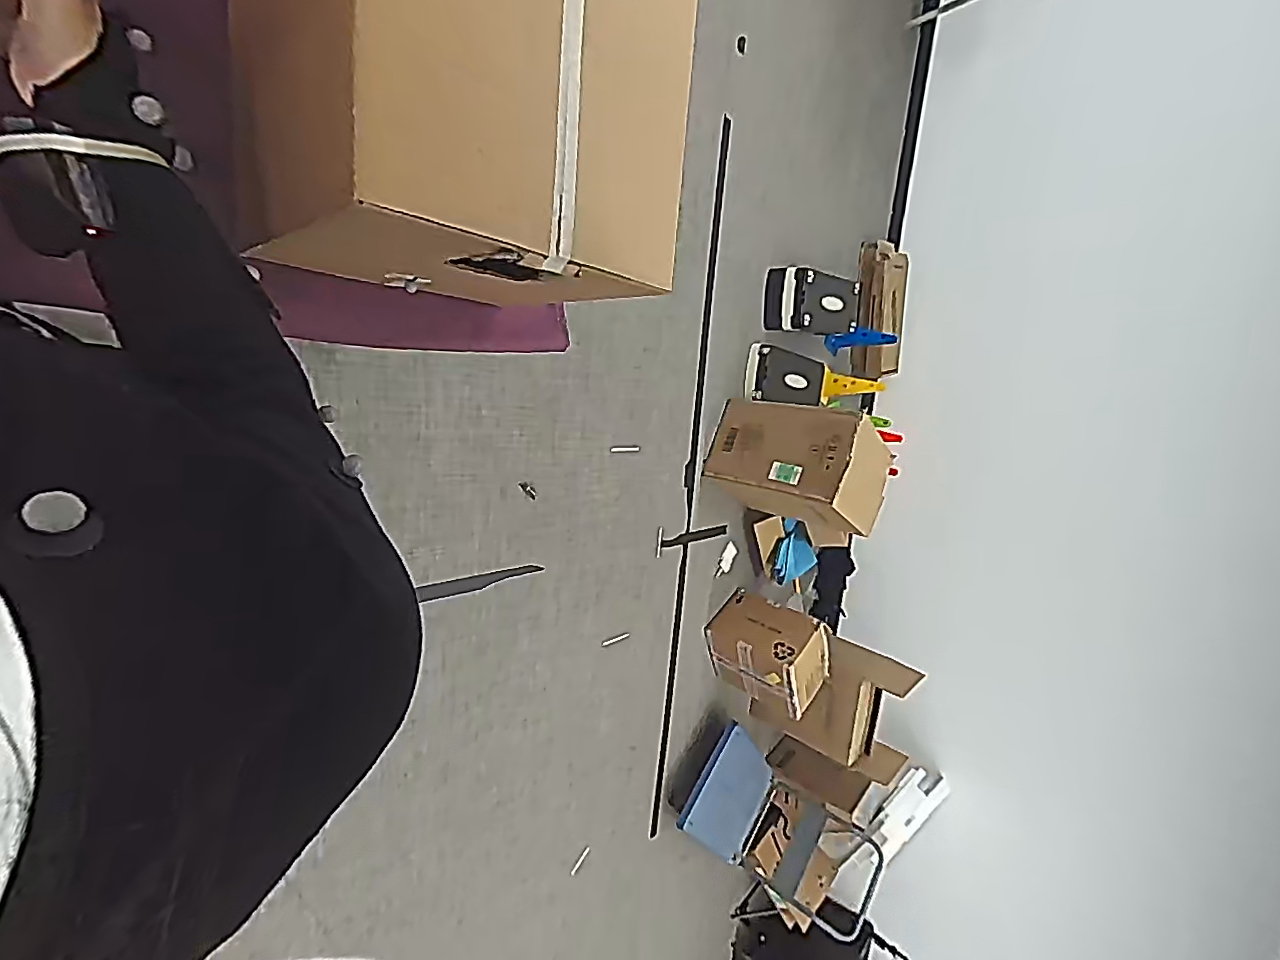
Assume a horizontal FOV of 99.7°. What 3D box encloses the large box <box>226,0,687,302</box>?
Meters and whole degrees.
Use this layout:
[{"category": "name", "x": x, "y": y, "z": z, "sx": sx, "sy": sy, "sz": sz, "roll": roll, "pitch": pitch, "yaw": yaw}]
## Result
[{"category": "large box", "x": -0.171, "y": -0.403, "z": 0.512, "sx": 0.320, "sy": 0.320, "sz": 0.408, "roll": -7, "pitch": 104, "yaw": -49}]
